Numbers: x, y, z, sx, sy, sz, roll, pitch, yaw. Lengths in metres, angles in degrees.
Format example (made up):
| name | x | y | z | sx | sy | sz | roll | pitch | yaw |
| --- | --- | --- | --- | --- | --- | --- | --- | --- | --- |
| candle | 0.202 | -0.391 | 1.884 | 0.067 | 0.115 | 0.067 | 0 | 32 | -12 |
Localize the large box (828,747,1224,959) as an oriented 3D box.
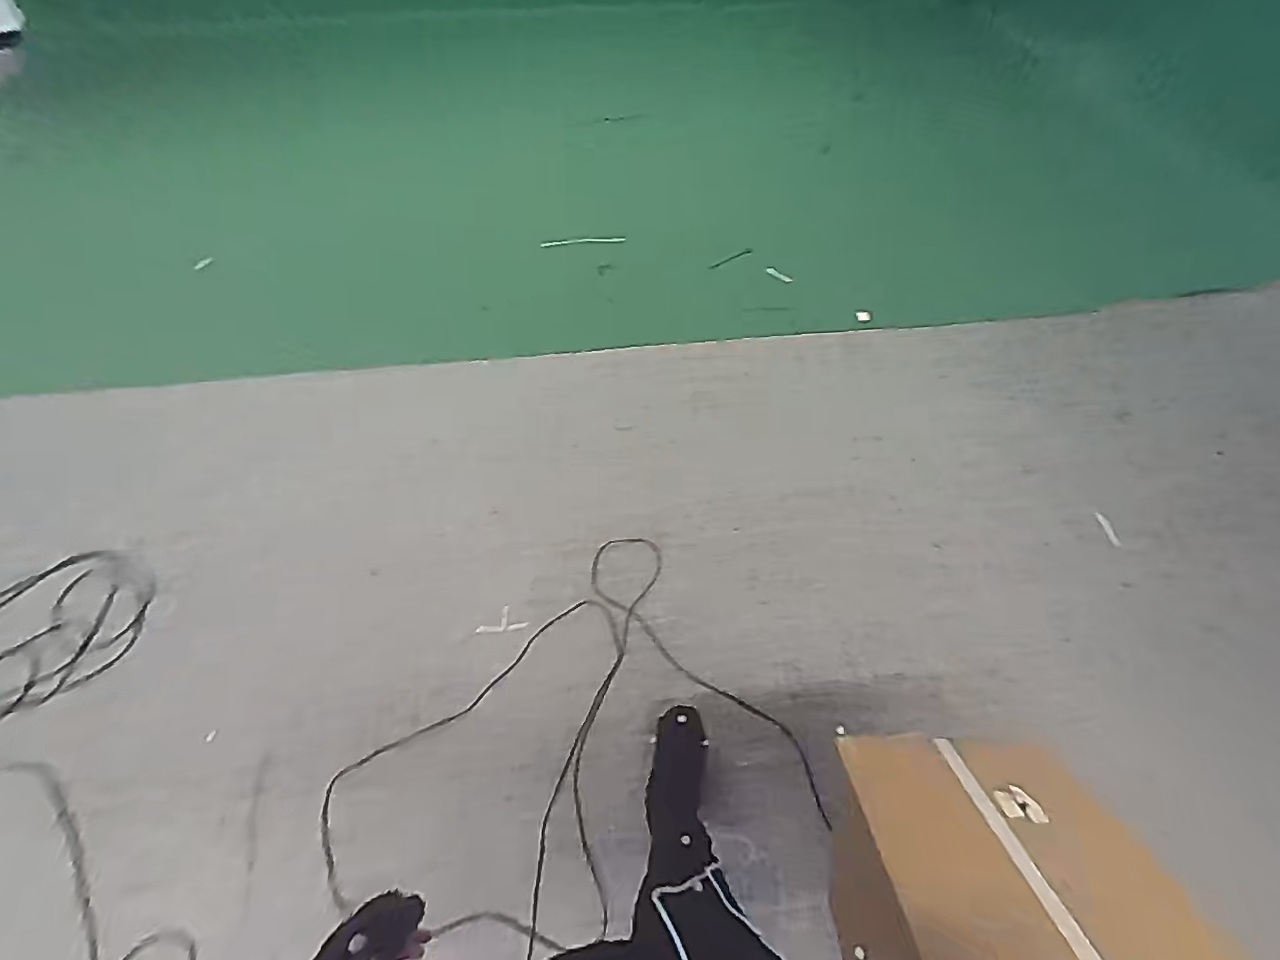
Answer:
| name | x | y | z | sx | sy | sz | roll | pitch | yaw |
| --- | --- | --- | --- | --- | --- | --- | --- | --- | --- |
| large box | 0.448 | 0.612 | 0.689 | 0.320 | 0.408 | 0.320 | 1 | 99 | 5 |
